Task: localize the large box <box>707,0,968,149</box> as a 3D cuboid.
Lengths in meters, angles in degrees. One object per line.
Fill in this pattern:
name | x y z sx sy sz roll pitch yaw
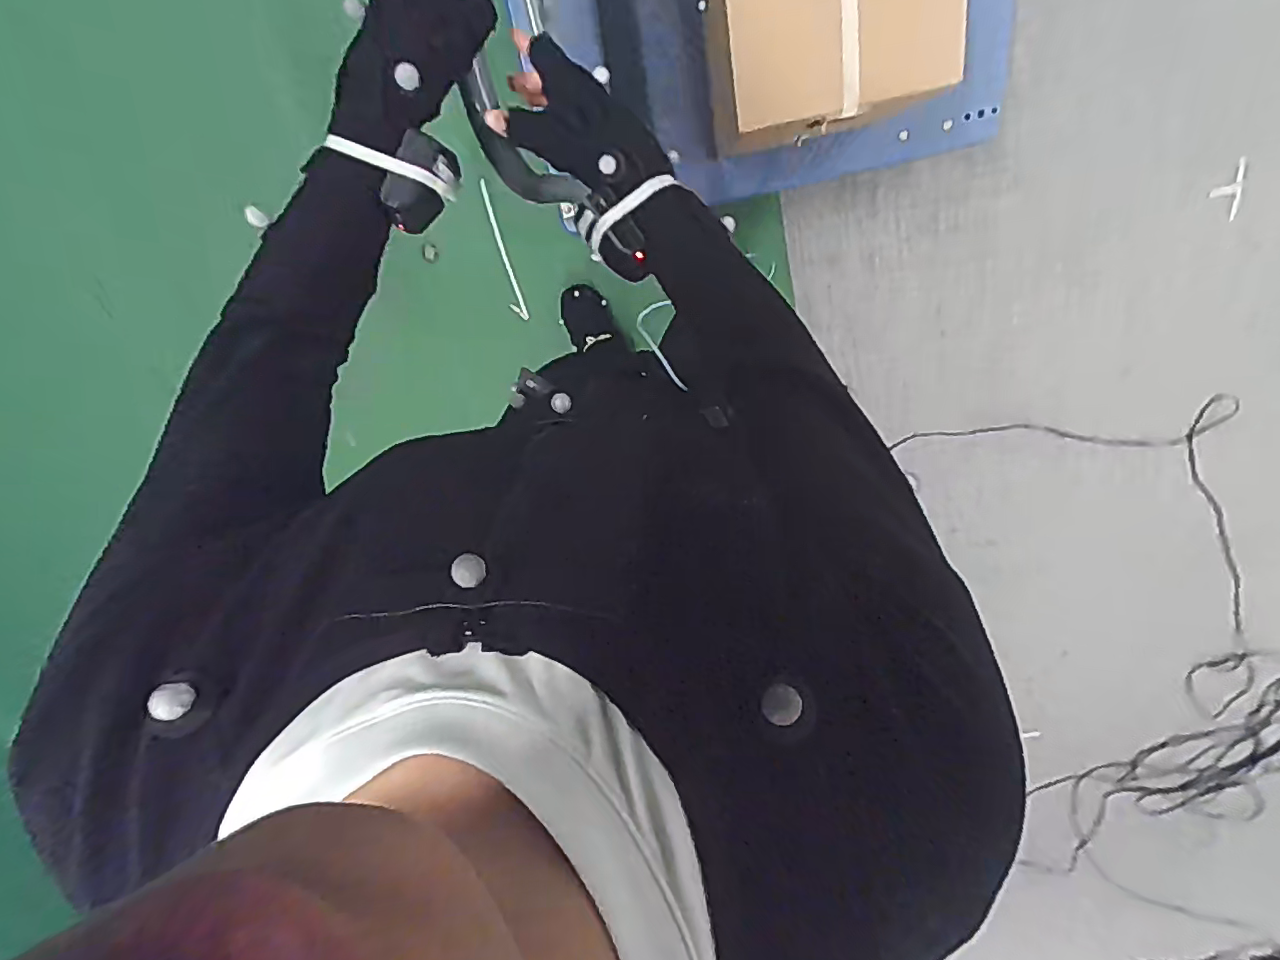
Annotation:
large box | 0.266 -0.782 0.818 0.320 0.320 0.408 -9 114 6
